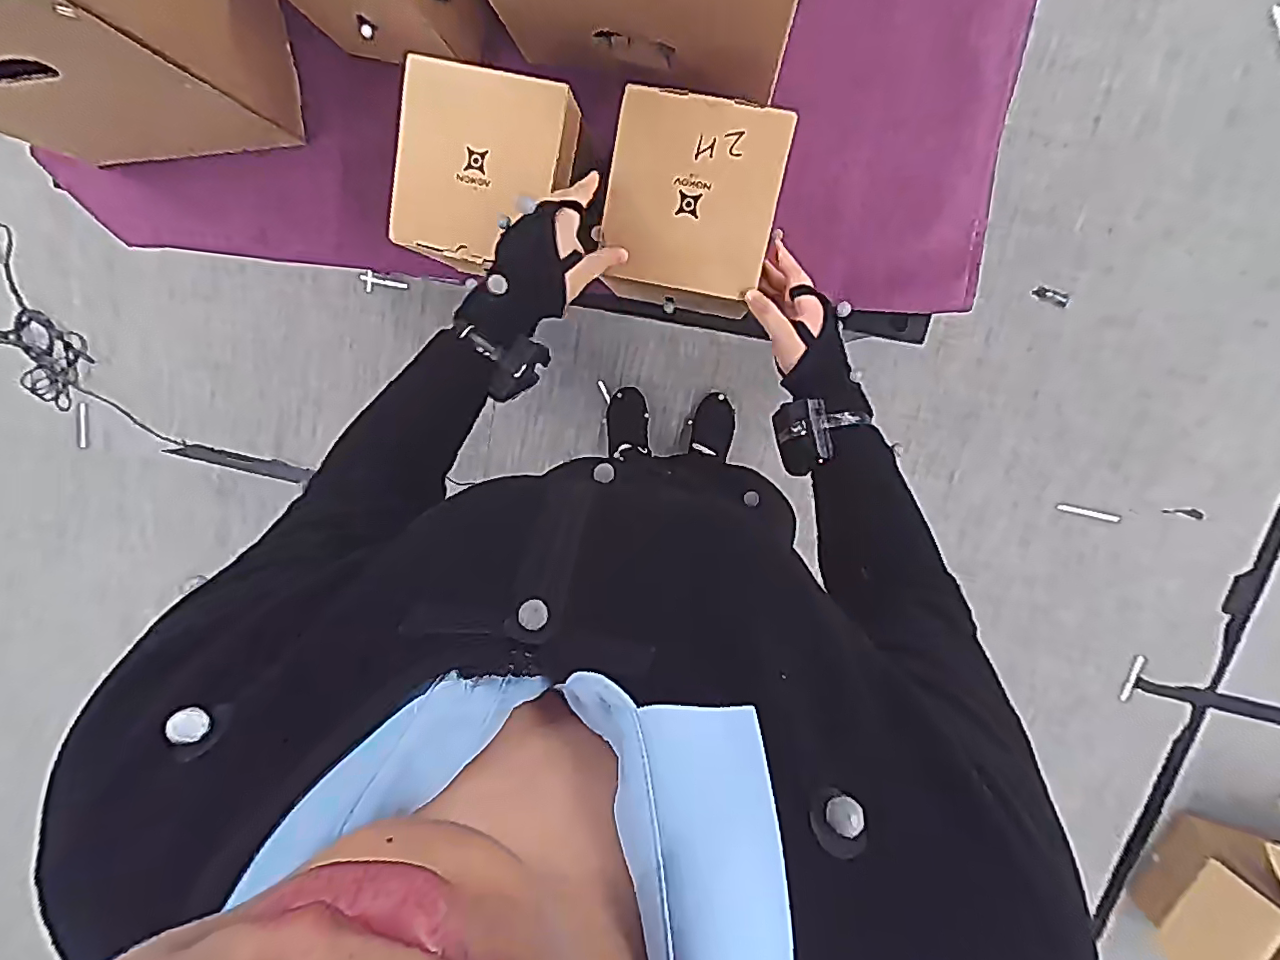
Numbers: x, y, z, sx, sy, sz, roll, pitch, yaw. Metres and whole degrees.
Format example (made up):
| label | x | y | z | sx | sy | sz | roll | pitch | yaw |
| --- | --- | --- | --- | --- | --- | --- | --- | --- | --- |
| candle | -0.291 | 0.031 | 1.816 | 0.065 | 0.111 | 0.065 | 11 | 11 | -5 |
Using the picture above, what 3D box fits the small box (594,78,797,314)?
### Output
| label | x | y | z | sx | sy | sz | roll | pitch | yaw |
| --- | --- | --- | --- | --- | --- | --- | --- | --- | --- |
| small box | 0.058 | -0.290 | 0.595 | 0.168 | 0.176 | 0.179 | 13 | 102 | 3 |
